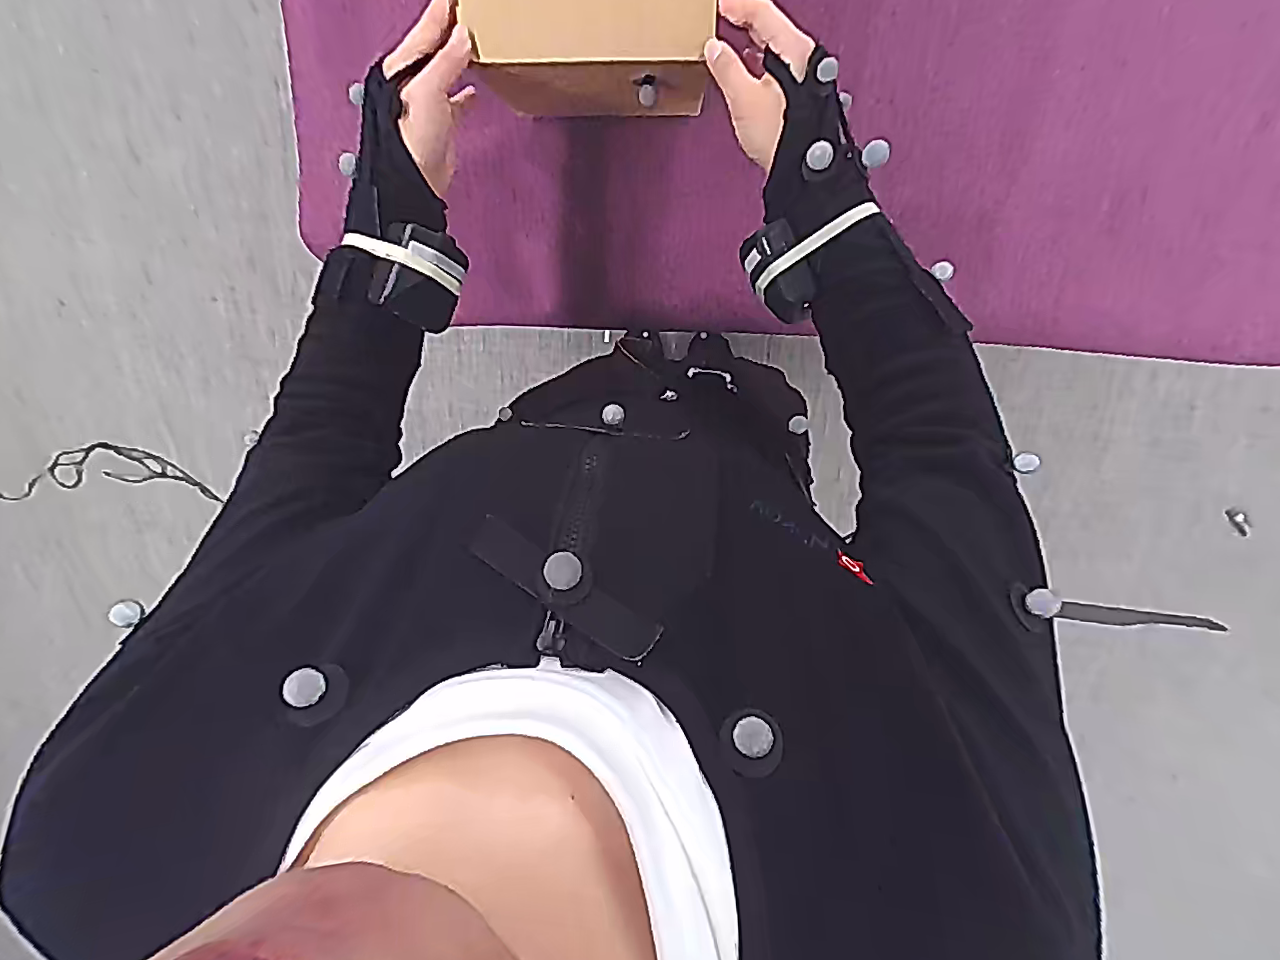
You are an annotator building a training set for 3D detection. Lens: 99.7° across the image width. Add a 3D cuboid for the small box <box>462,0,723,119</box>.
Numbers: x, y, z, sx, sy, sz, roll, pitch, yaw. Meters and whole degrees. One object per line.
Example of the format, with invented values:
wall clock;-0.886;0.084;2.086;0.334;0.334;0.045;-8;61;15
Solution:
small box;-0.030;-0.391;0.412;0.179;0.176;0.168;1;113;2
